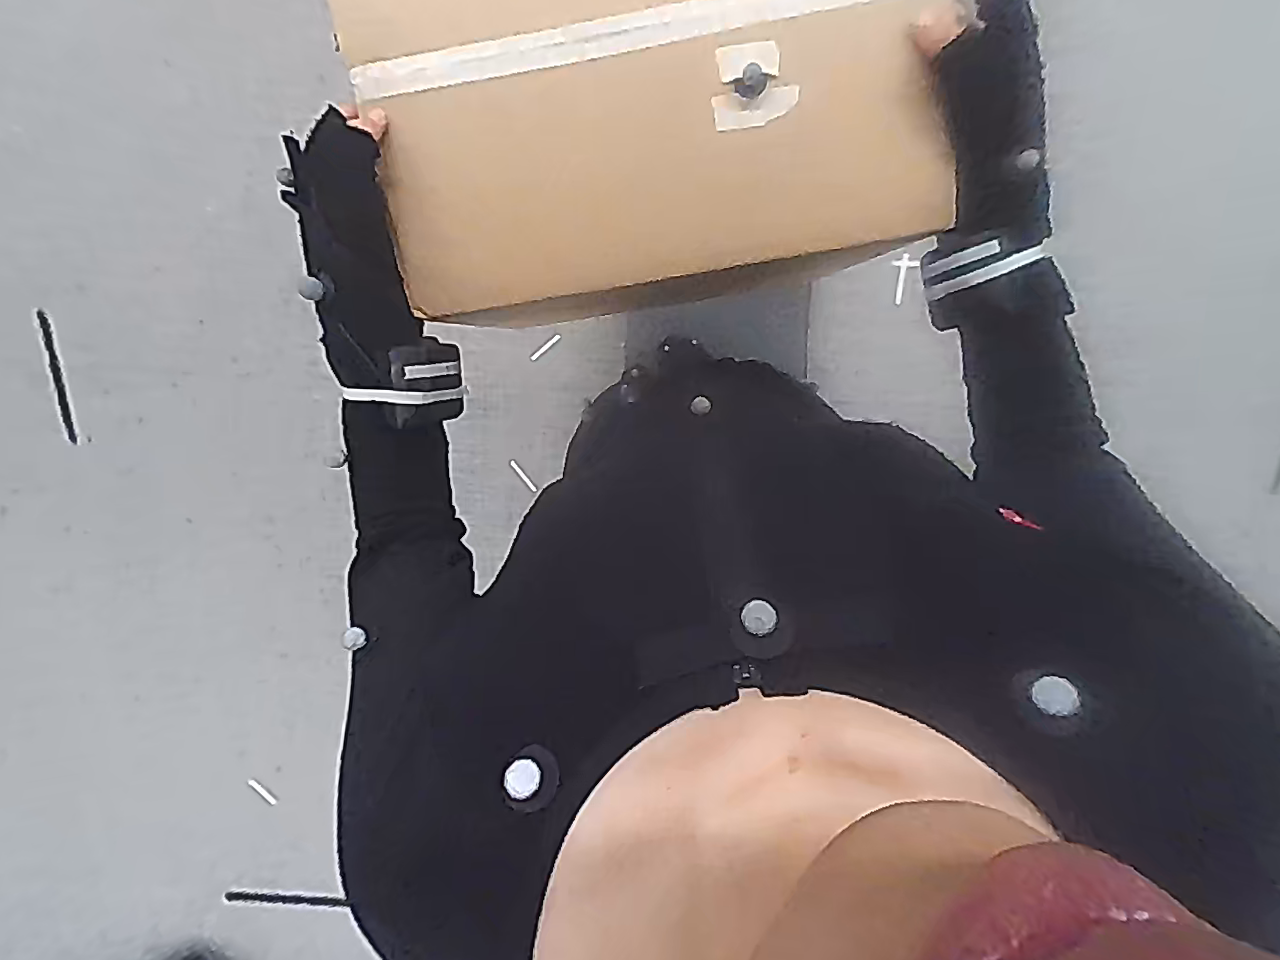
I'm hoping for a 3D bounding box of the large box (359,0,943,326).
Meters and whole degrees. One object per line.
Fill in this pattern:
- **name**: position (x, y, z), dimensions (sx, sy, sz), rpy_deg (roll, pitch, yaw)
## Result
- **large box**: position (0.007, -0.345, 0.524), dimensions (0.408, 0.320, 0.320), rpy_deg (-8, 104, 2)
